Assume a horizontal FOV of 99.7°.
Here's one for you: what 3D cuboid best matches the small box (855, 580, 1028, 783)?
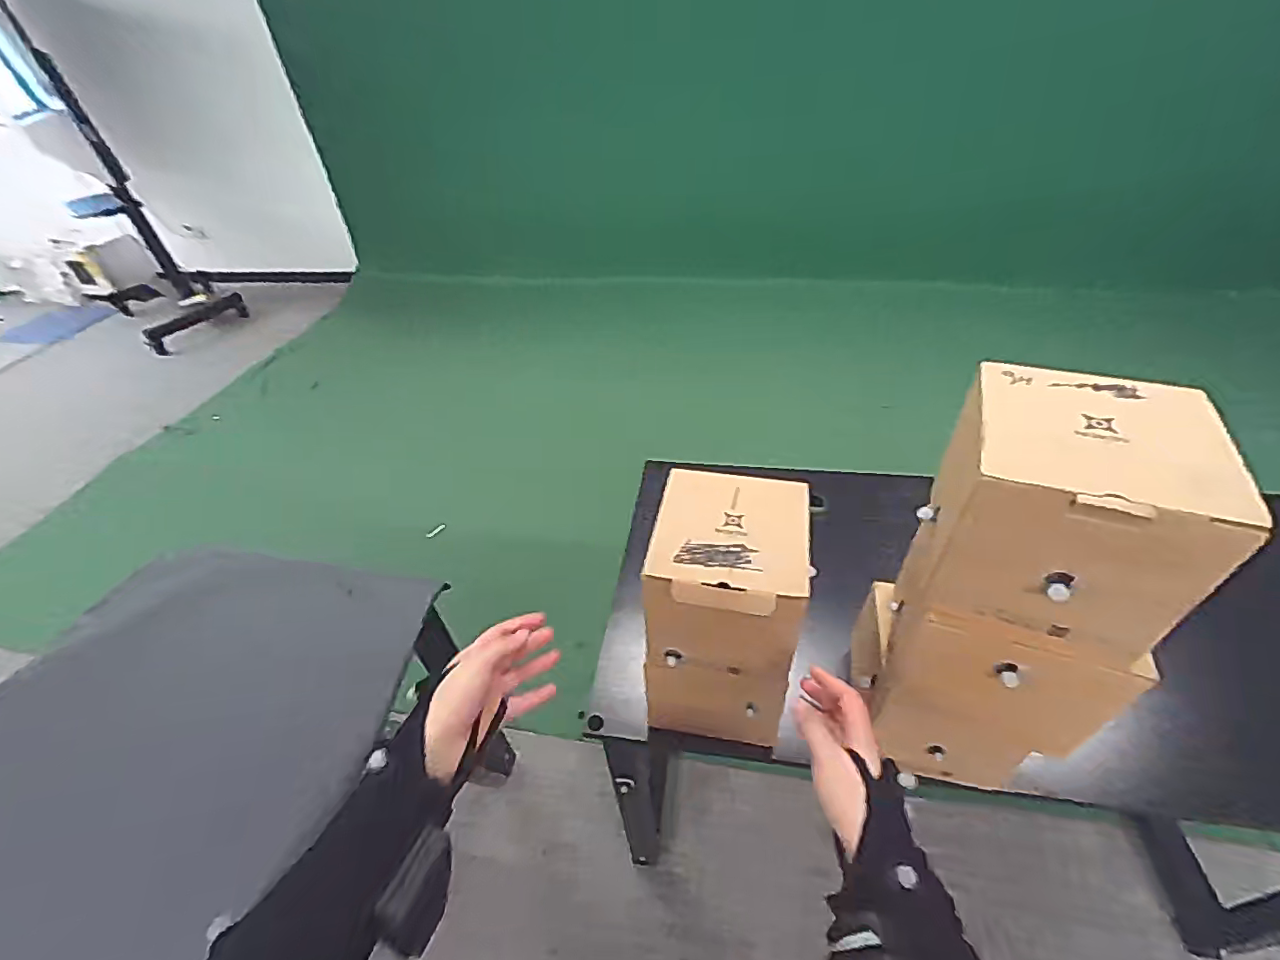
[{"bbox_3d":[0.381,0.258,0.694,0.168,0.176,0.179,7,43,12],"label":"small box"}]

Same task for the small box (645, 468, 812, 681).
[{"bbox_3d":[0.107,0.111,0.639,0.168,0.176,0.179,7,42,11],"label":"small box"}]

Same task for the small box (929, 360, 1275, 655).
[{"bbox_3d":[0.366,0.021,0.472,0.168,0.176,0.179,14,46,21],"label":"small box"}]

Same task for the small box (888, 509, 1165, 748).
[{"bbox_3d":[0.379,0.152,0.569,0.179,0.176,0.168,12,45,19],"label":"small box"}]
